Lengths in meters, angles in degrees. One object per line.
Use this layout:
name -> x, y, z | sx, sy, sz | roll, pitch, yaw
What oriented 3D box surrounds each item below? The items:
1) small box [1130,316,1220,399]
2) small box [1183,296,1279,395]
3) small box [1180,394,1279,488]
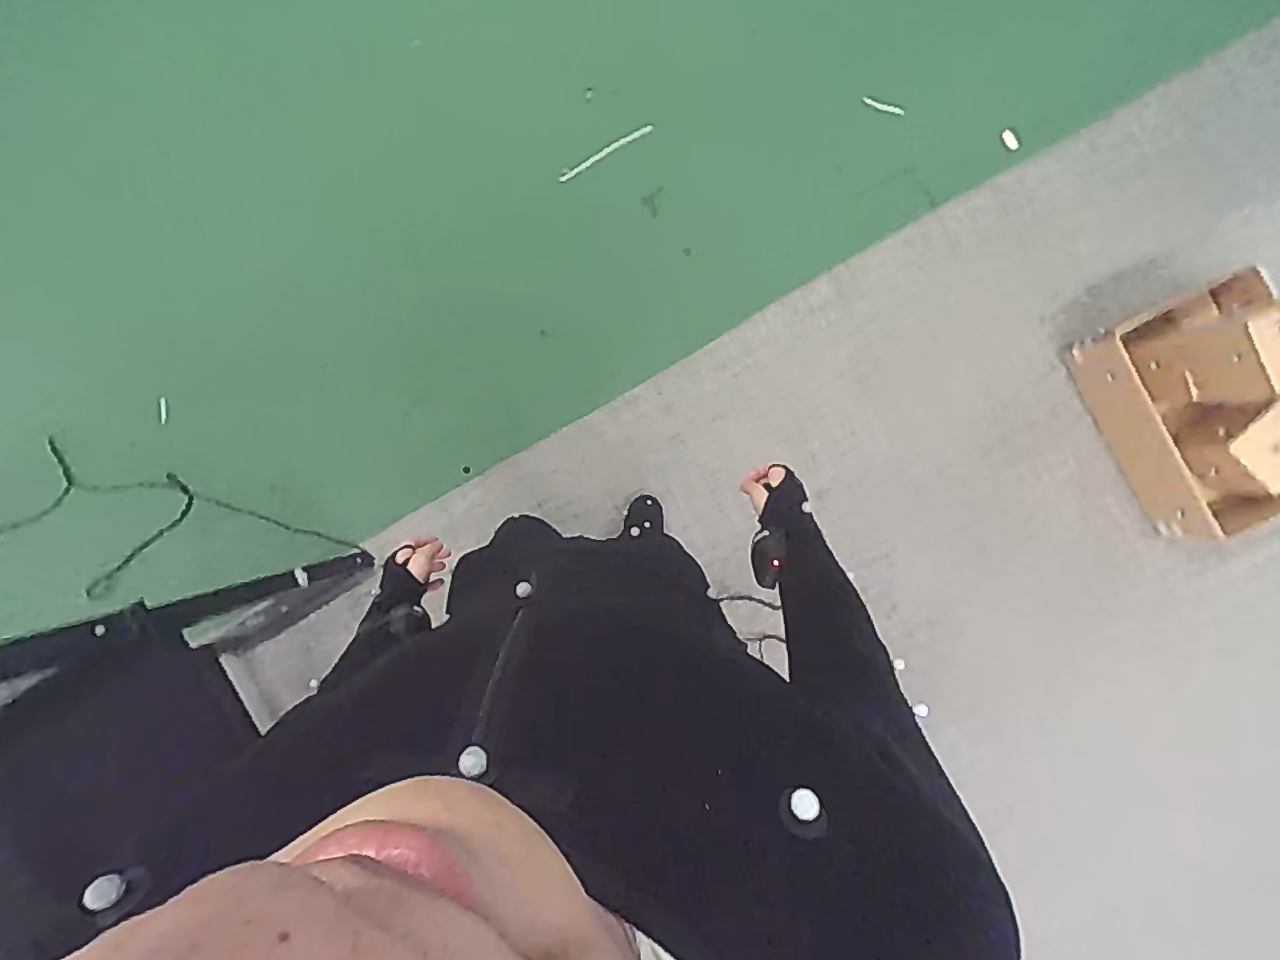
small box -> 1.431, -0.317, 1.402 | 0.179, 0.176, 0.168 | -17, 91, 2
small box -> 1.421, -0.312, 1.239 | 0.168, 0.176, 0.179 | -24, 91, 3
small box -> 1.571, -0.095, 1.396 | 0.179, 0.176, 0.168 | -44, 88, 3
